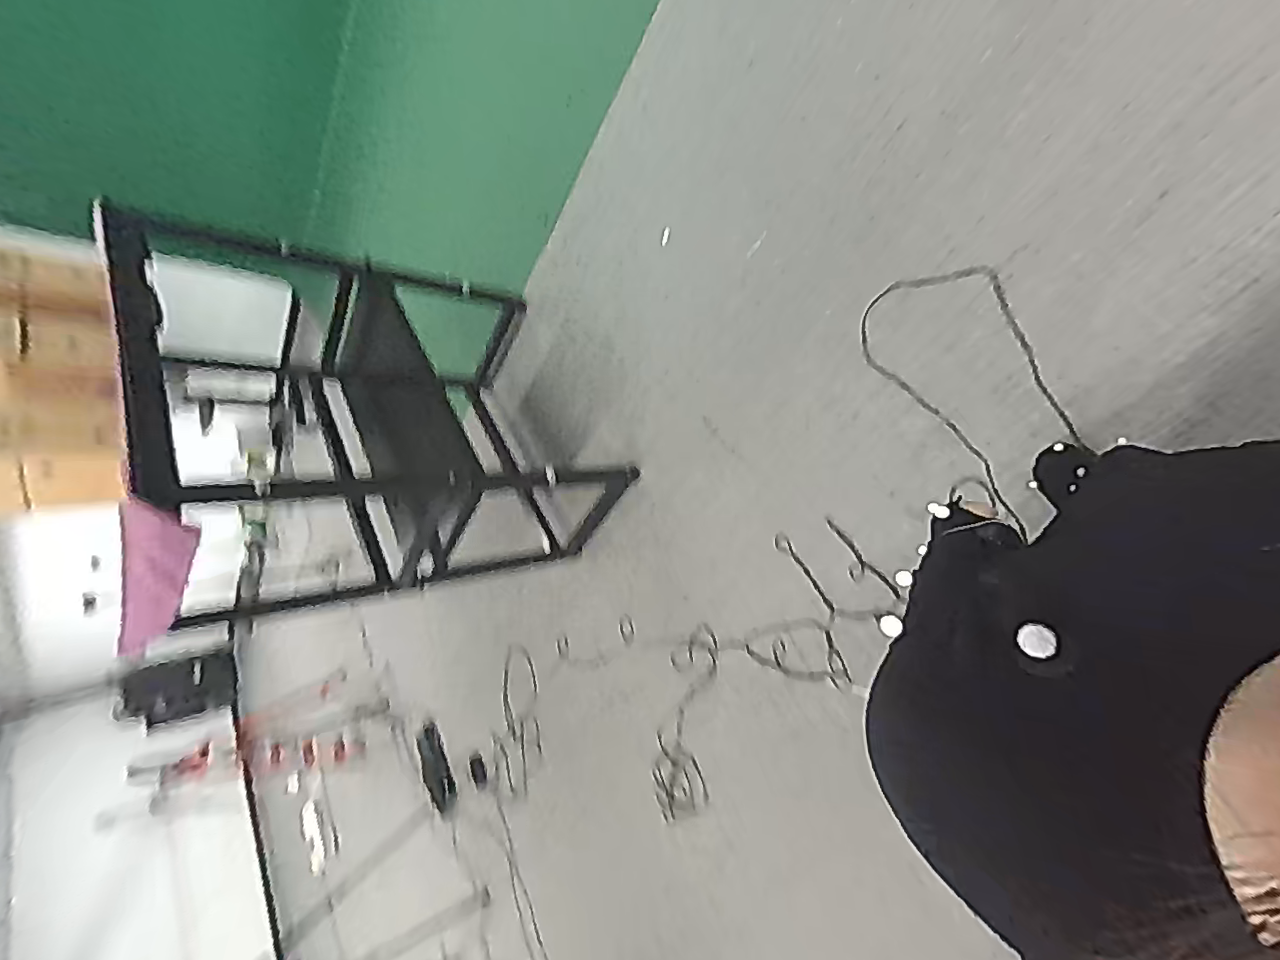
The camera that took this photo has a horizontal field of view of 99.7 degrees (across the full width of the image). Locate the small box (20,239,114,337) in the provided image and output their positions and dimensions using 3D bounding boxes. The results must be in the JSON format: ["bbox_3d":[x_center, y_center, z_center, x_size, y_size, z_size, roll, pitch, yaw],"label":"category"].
[{"bbox_3d":[-1.568,-0.518,1.481,0.179,0.176,0.168,-51,59,32],"label":"small box"}]

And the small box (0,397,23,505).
[{"bbox_3d":[-1.373,-0.057,1.091,0.168,0.176,0.179,53,126,29],"label":"small box"}]

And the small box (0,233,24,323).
[{"bbox_3d":[-1.685,-0.519,1.366,0.179,0.176,0.168,-48,62,34],"label":"small box"}]

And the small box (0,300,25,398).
[{"bbox_3d":[-1.536,-0.304,1.233,0.179,0.176,0.168,-48,61,34],"label":"small box"}]

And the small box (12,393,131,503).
[{"bbox_3d":[-1.251,-0.070,1.200,0.168,0.176,0.179,54,127,29],"label":"small box"}]
